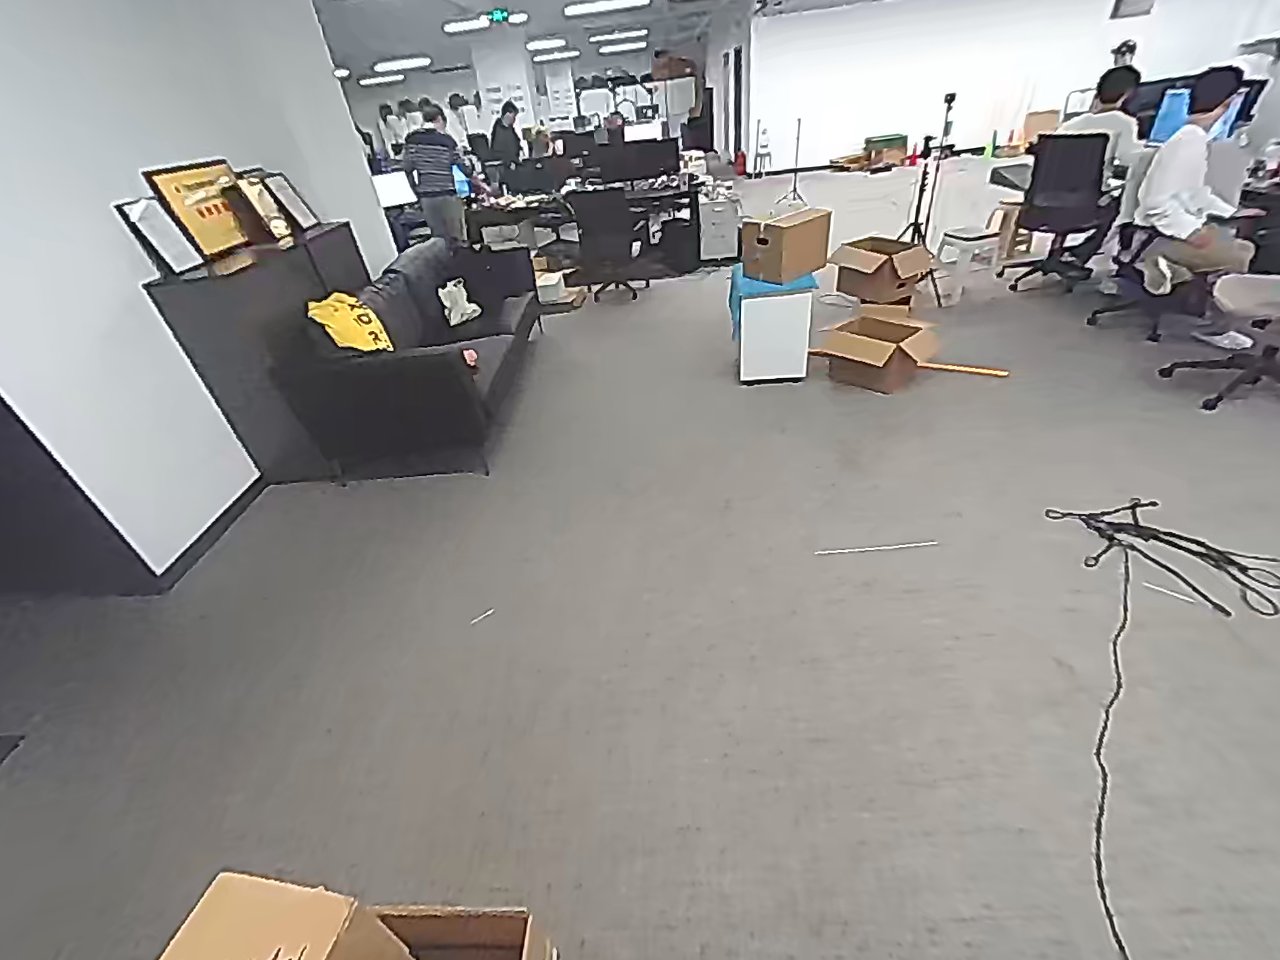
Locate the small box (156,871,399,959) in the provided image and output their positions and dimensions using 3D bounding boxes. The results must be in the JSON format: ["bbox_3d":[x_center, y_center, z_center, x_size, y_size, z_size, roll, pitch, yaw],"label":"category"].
[{"bbox_3d":[-0.383,0.541,0.552,0.179,0.176,0.168,1,34,12],"label":"small box"}]
